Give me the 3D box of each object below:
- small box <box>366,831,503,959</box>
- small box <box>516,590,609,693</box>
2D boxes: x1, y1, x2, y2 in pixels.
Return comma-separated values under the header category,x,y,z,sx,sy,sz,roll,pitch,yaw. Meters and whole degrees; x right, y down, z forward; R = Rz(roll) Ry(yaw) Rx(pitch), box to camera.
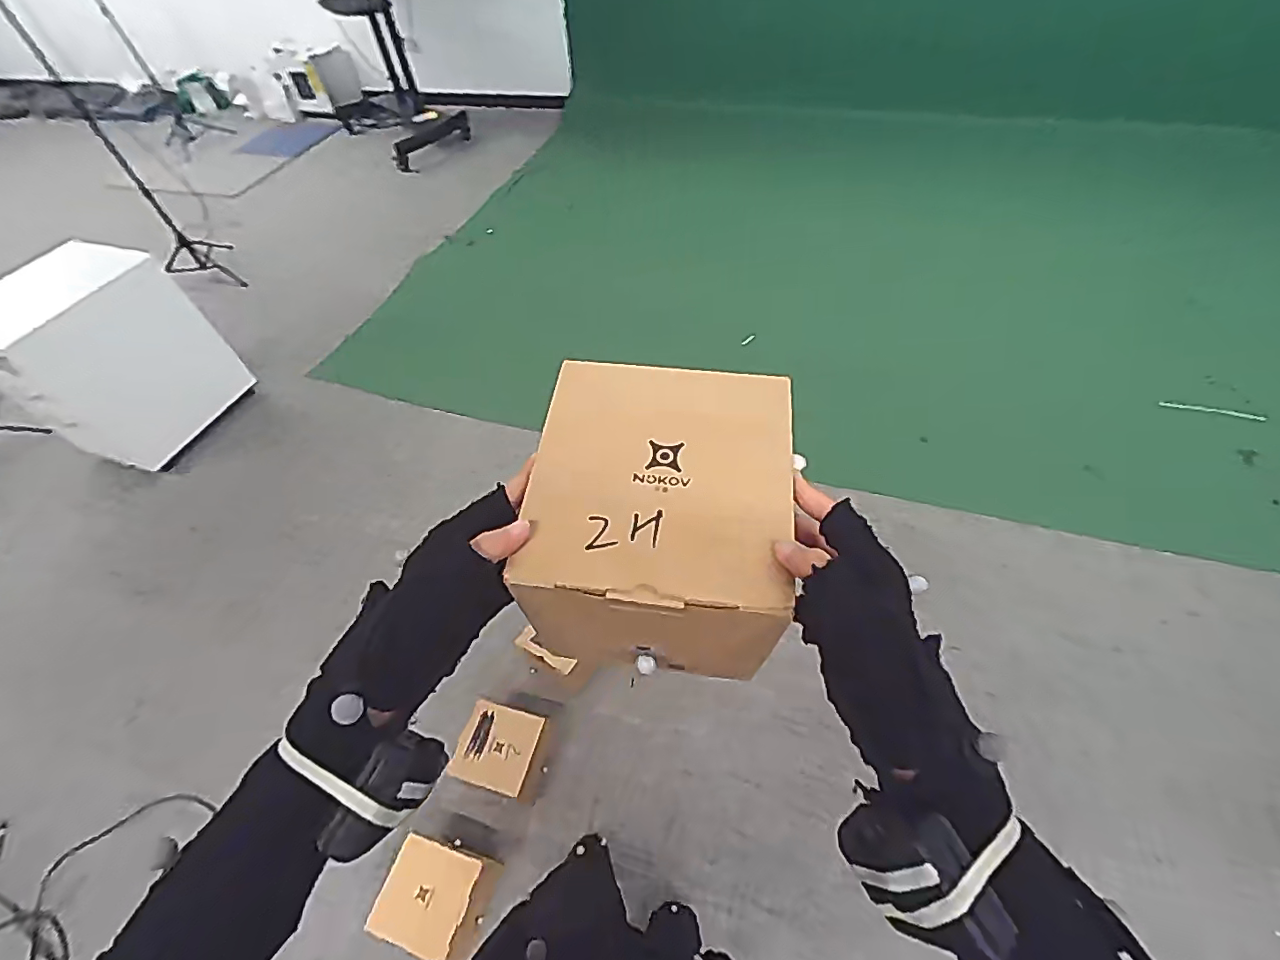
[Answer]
category,x,y,z,sx,sy,sz,roll,pitch,yaw
small box,-0.411,0.855,1.114,0.179,0.176,0.168,12,54,13
small box,-0.195,0.429,1.427,0.168,0.176,0.179,24,56,21
